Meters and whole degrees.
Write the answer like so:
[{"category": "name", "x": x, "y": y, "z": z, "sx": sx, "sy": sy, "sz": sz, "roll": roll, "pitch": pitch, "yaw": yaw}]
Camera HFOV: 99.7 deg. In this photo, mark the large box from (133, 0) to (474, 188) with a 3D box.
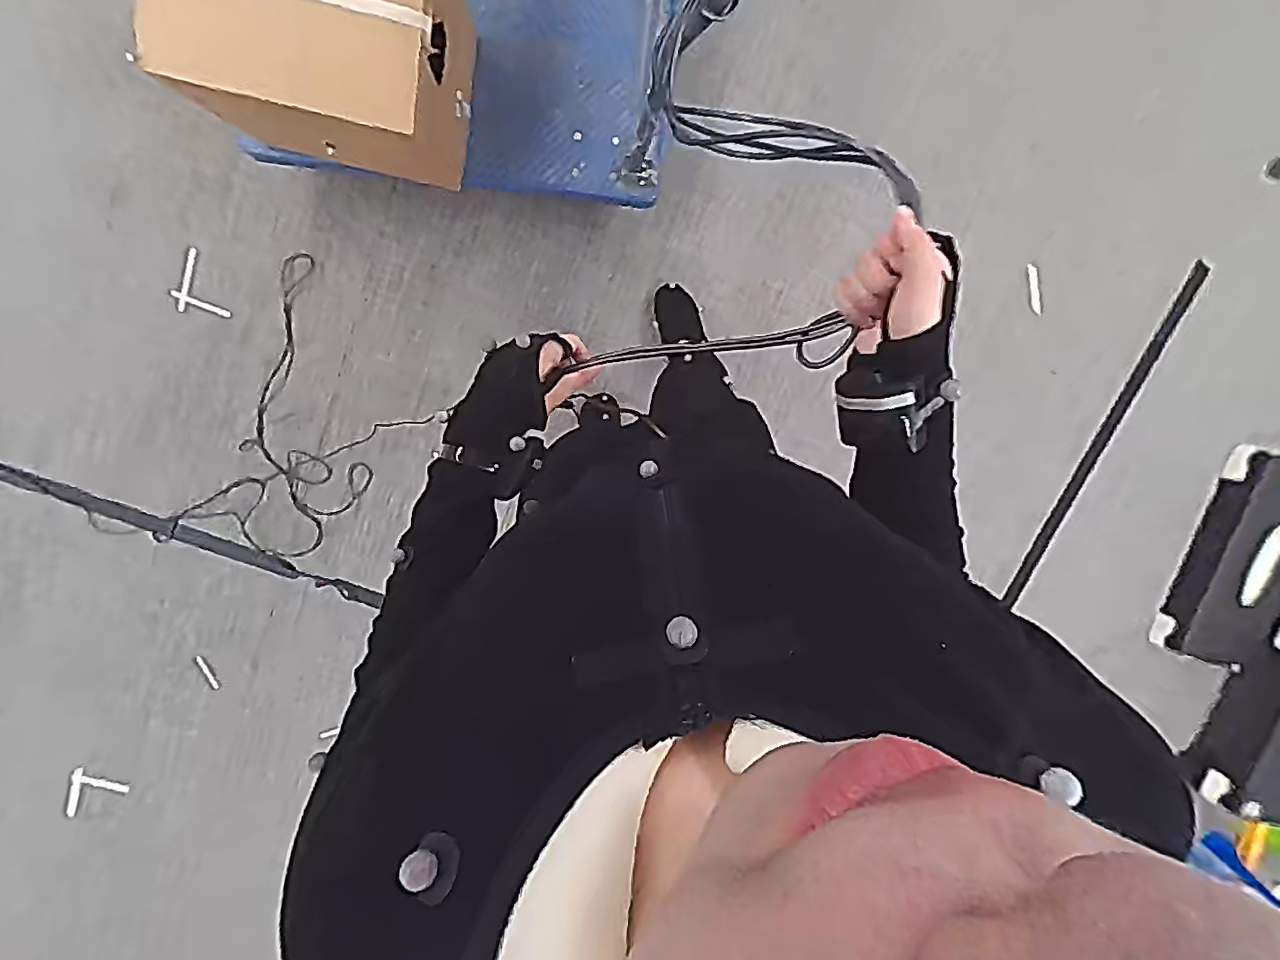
[{"category": "large box", "x": -0.535, "y": -0.748, "z": 0.937, "sx": 0.408, "sy": 0.320, "sz": 0.320, "roll": 10, "pitch": 102, "yaw": -6}]
